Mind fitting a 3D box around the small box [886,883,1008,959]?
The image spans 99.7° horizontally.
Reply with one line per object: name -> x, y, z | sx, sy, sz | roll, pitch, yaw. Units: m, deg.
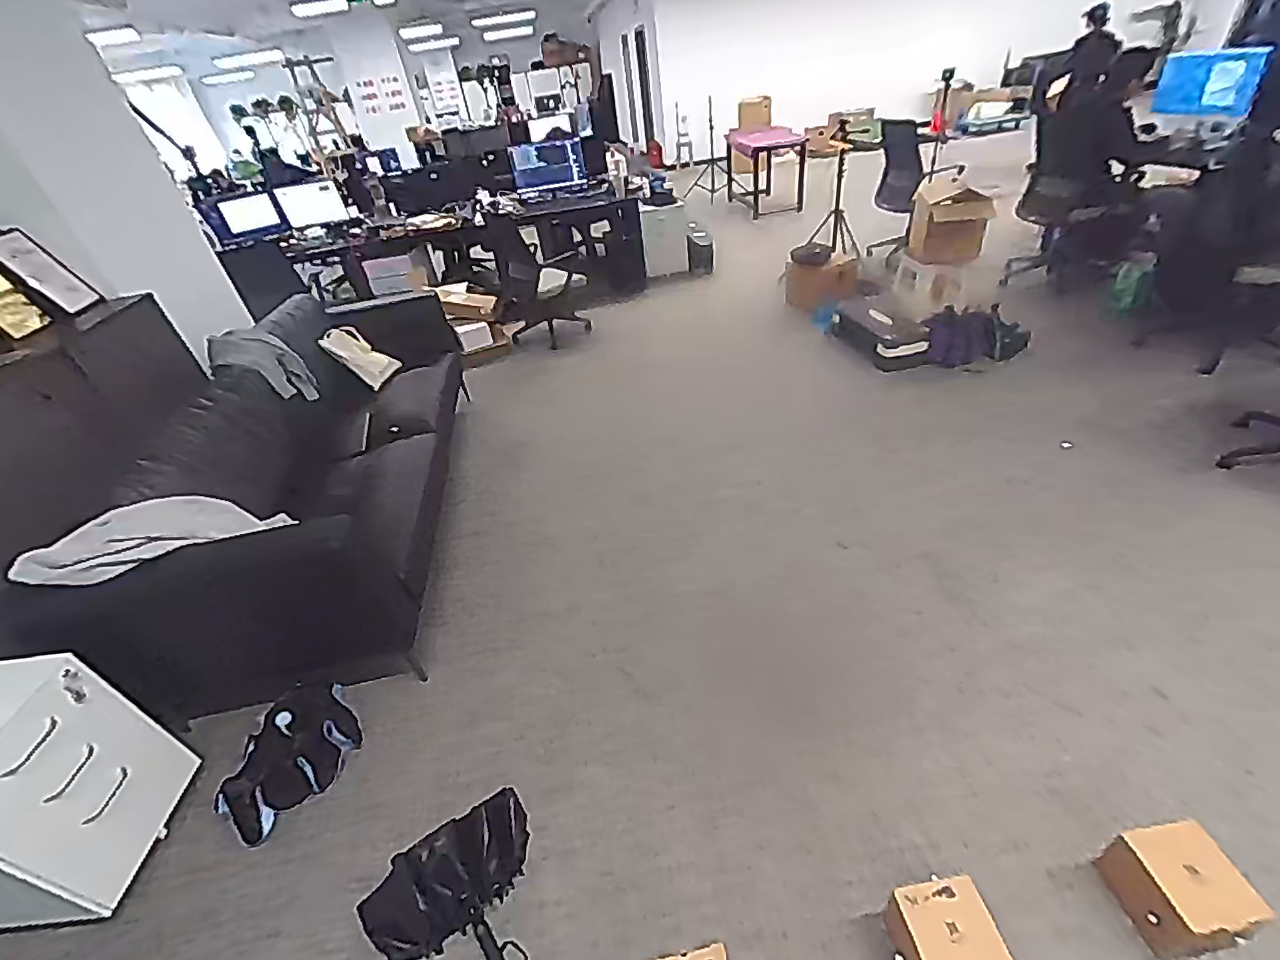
small box -> 0.626, 0.963, 1.100 | 0.168, 0.176, 0.179 | -11, 37, 0

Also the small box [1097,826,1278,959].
small box -> 1.115, 0.860, 1.121 | 0.168, 0.176, 0.179 | -10, 35, -1
